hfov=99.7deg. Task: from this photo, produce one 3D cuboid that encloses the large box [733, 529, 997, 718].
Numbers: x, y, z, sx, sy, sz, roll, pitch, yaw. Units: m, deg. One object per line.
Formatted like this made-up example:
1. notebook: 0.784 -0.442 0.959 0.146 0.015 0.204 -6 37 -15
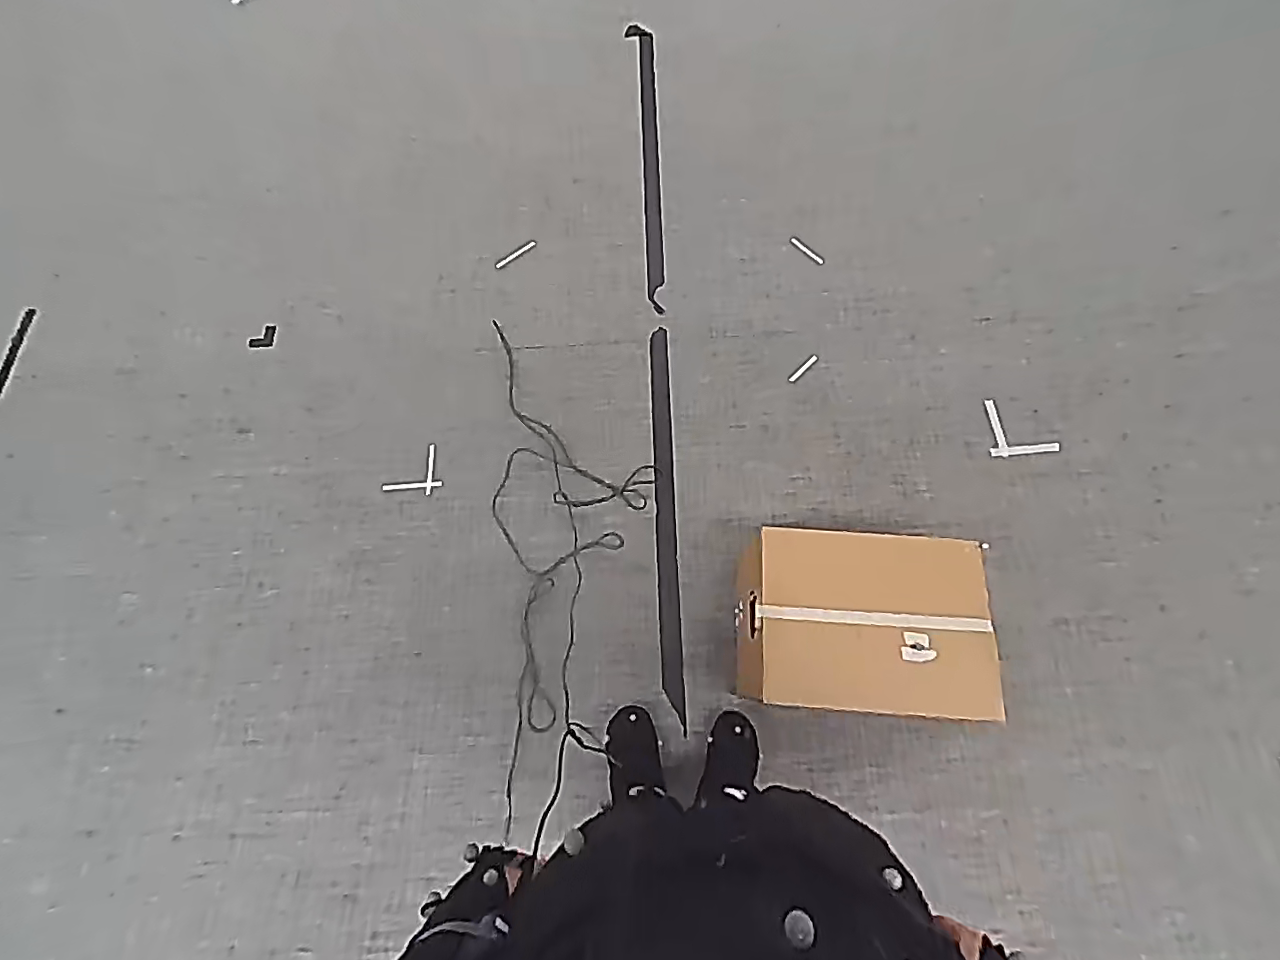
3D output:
1. large box: 0.413 0.298 1.102 0.408 0.320 0.320 4 71 2
